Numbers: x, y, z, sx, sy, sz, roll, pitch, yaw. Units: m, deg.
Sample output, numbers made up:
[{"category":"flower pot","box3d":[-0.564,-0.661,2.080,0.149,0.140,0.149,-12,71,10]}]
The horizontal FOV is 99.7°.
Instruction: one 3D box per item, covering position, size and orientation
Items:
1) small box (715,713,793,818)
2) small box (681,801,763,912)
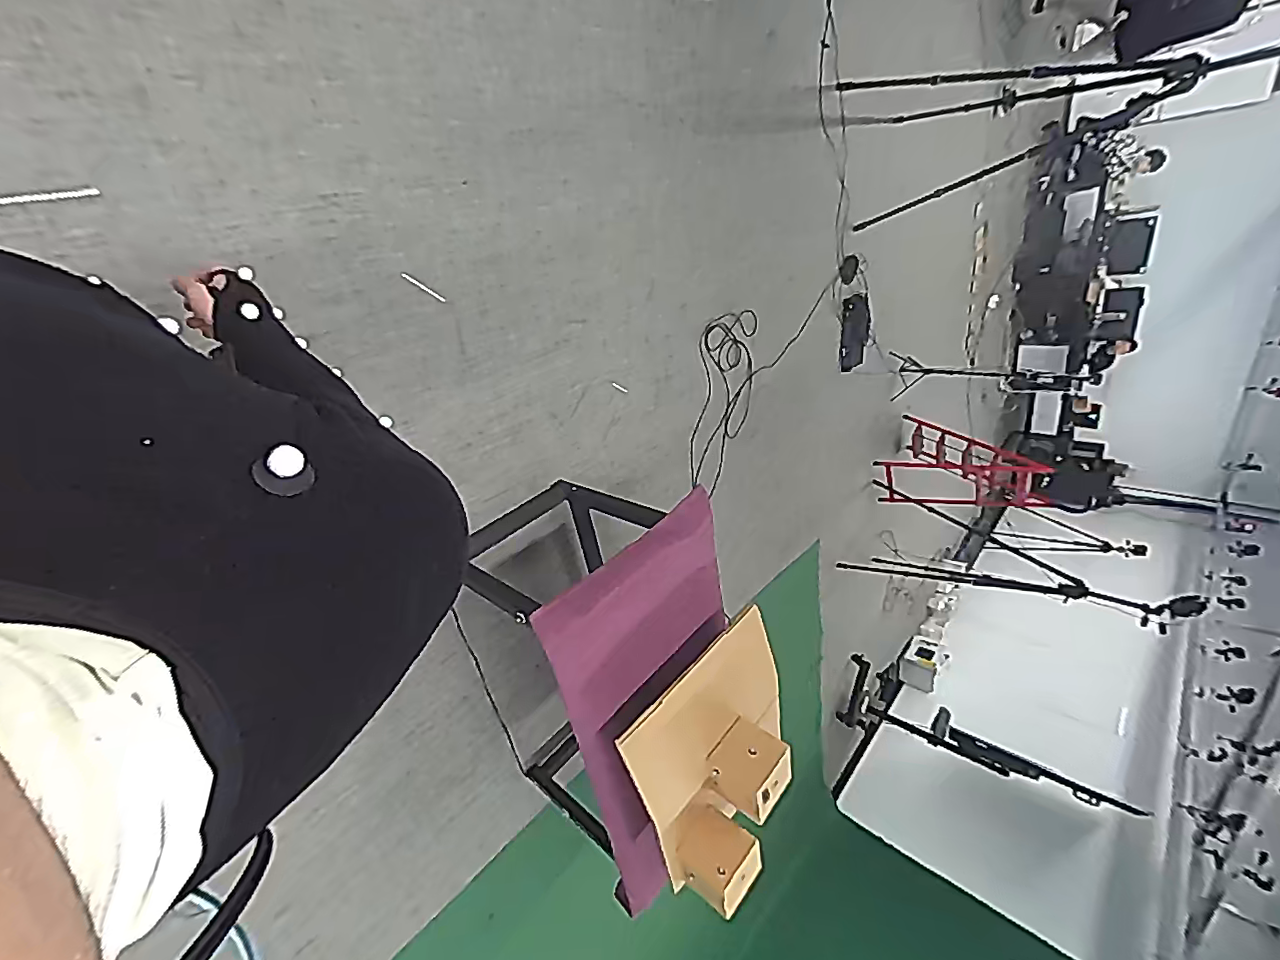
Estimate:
[{"category":"small box","box3d":[0.333,0.839,1.600,0.179,0.176,0.168,-36,128,-35]},{"category":"small box","box3d":[0.244,1.105,1.600,0.179,0.176,0.168,-35,127,-34]}]
